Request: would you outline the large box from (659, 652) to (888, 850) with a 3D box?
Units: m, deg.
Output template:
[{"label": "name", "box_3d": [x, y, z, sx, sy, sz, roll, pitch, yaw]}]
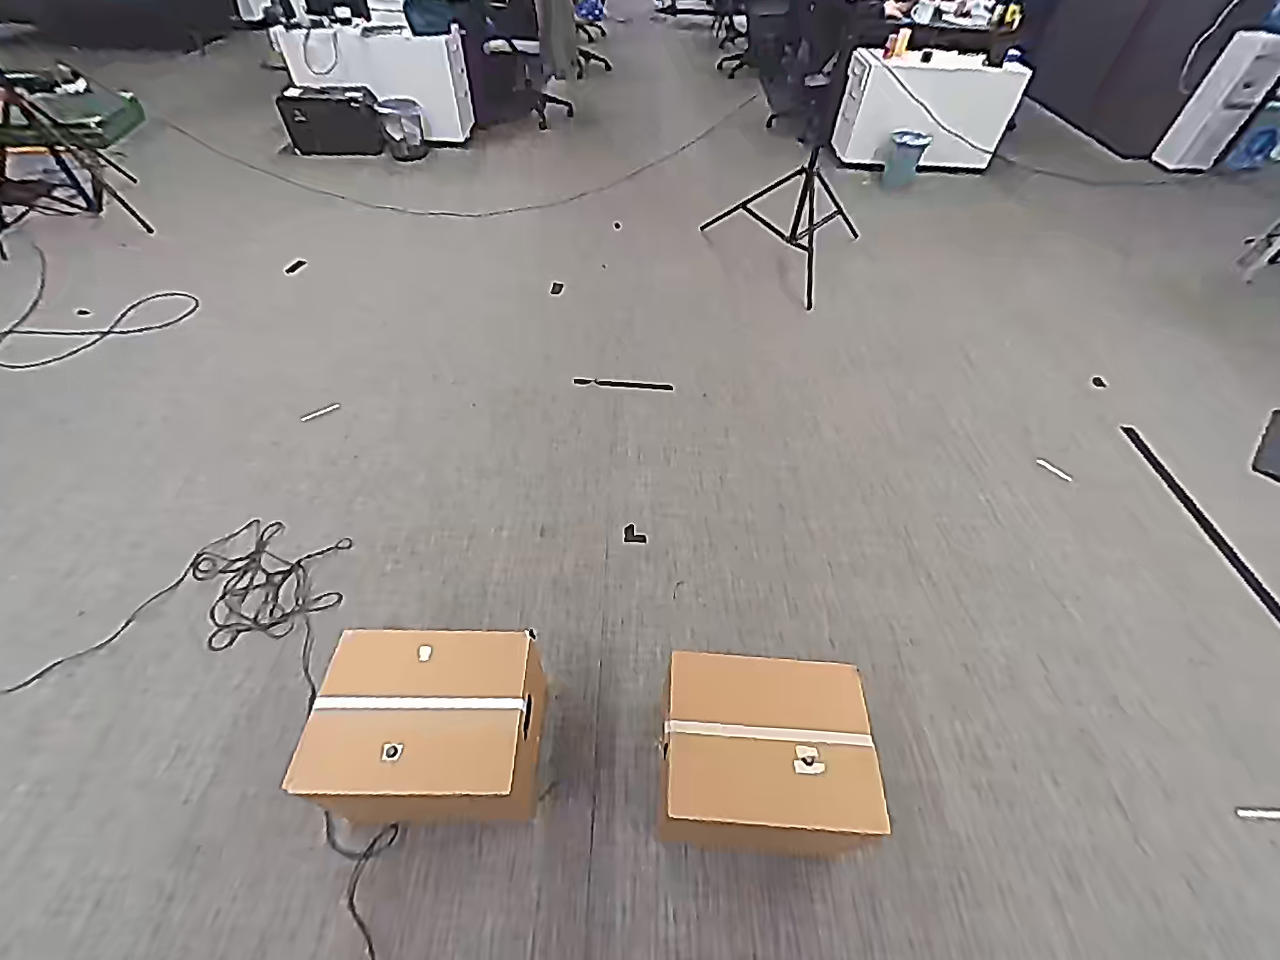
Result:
[{"label": "large box", "box_3d": [0.253, 0.599, 1.187, 0.408, 0.320, 0.320, 5, 50, 0]}]
